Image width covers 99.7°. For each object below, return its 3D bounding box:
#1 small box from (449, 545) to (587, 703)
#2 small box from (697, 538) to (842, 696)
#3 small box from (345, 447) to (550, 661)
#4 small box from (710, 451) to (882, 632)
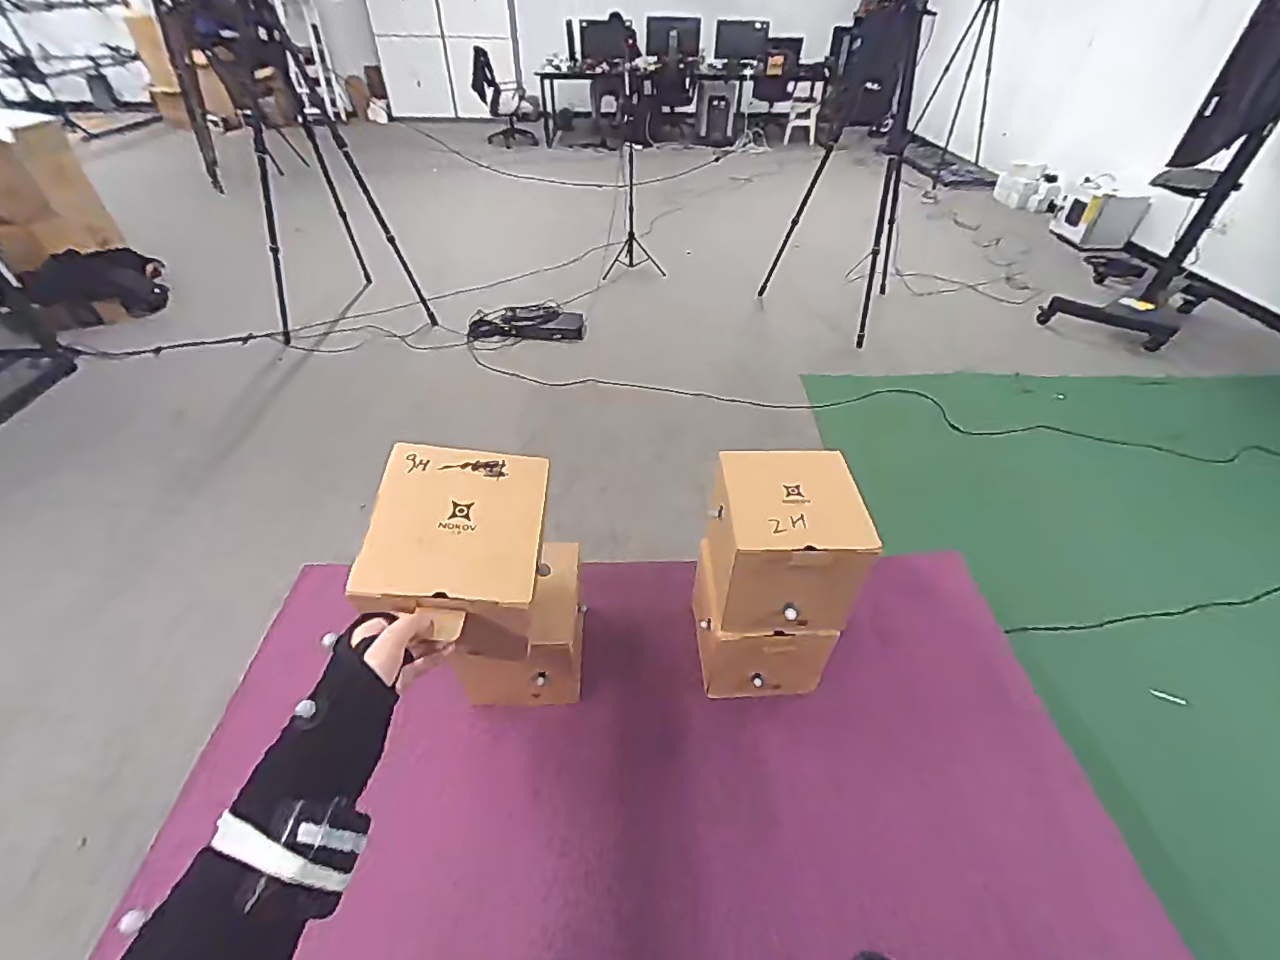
[{"bbox_3d":[-0.168,0.218,0.810,0.168,0.176,0.179,0,42,-1],"label":"small box"},{"bbox_3d":[0.181,0.206,0.823,0.168,0.176,0.179,-2,43,-2],"label":"small box"},{"bbox_3d":[-0.193,0.090,0.598,0.168,0.176,0.179,7,55,-8],"label":"small box"},{"bbox_3d":[0.188,0.079,0.717,0.168,0.176,0.179,-1,43,0],"label":"small box"}]
